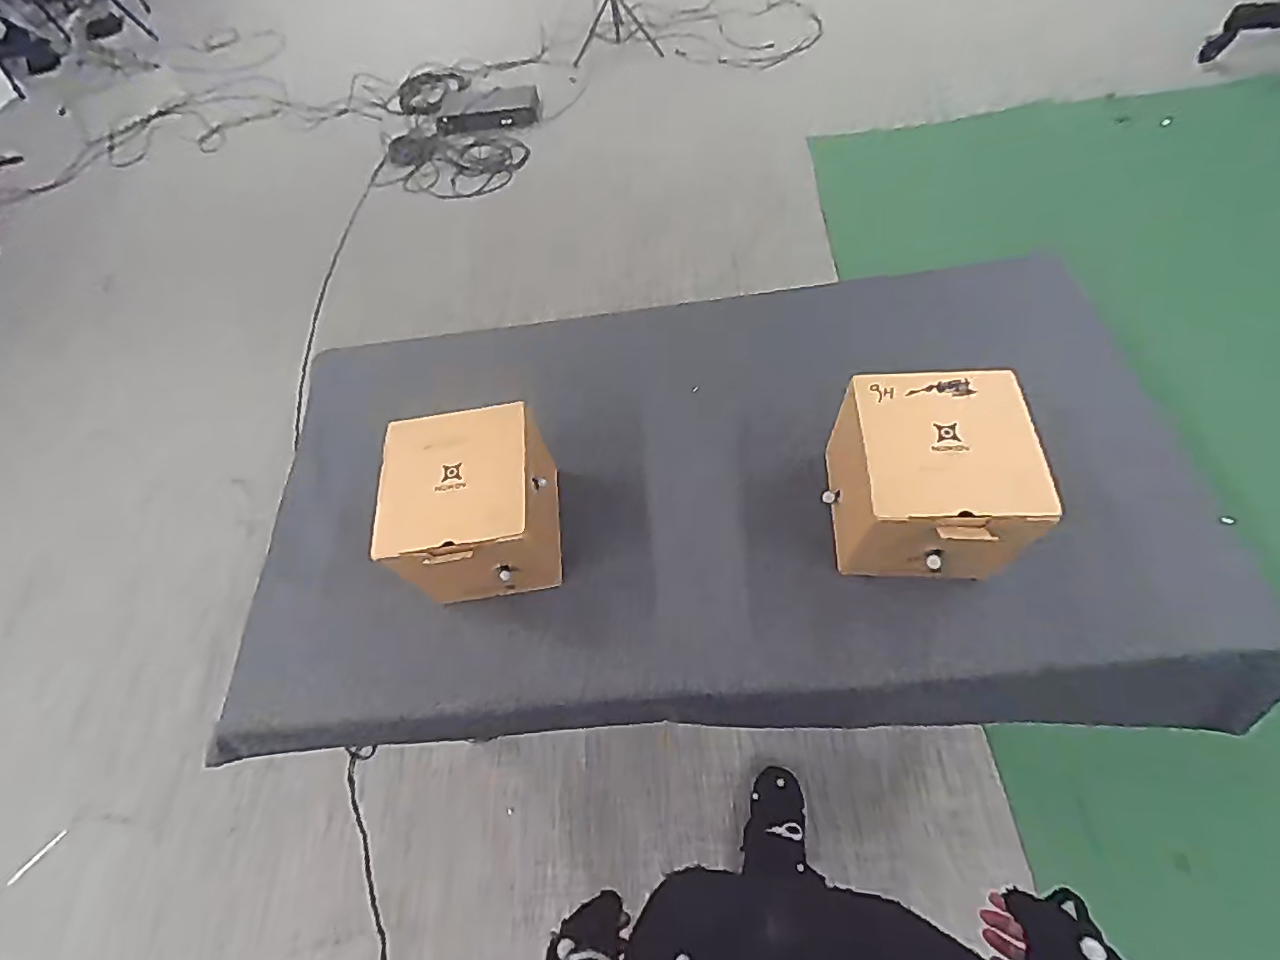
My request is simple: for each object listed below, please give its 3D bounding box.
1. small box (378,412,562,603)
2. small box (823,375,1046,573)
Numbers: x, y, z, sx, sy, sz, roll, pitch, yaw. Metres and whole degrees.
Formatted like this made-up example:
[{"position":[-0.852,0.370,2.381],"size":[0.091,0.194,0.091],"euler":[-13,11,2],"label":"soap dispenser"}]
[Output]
[{"position":[-0.198,0.044,0.676],"size":[0.168,0.176,0.179],"euler":[-10,60,1],"label":"small box"},{"position":[0.314,0.002,0.621],"size":[0.168,0.176,0.179],"euler":[-1,63,8],"label":"small box"}]
